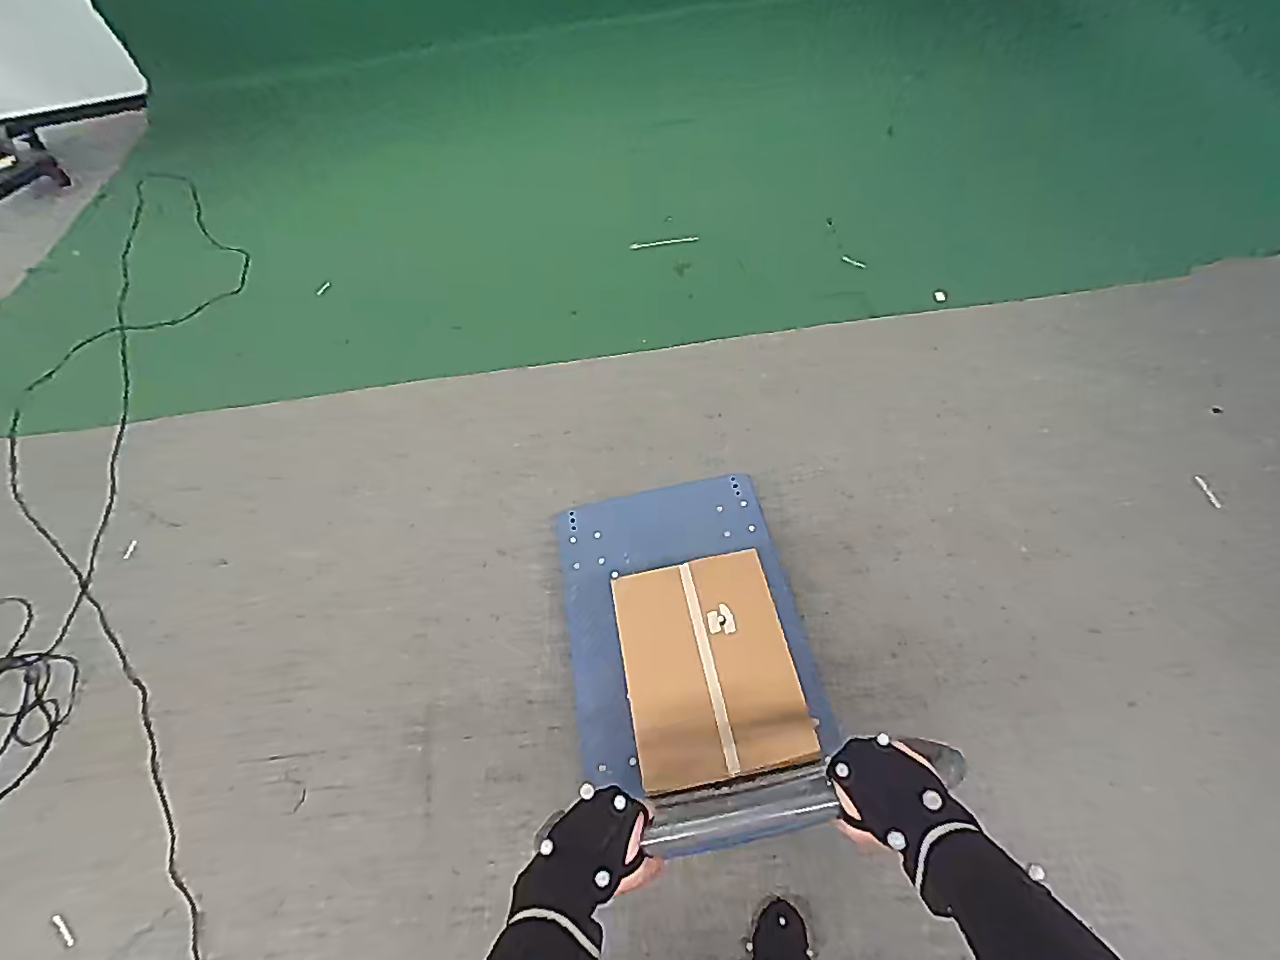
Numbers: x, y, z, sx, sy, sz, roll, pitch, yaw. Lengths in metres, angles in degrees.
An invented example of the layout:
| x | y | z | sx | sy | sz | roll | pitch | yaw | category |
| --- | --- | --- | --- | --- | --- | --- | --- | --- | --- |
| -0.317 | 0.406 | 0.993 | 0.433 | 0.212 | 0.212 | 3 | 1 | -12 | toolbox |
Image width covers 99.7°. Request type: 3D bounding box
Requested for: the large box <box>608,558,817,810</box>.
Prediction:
| x | y | z | sx | sy | sz | roll | pitch | yaw | category |
| --- | --- | --- | --- | --- | --- | --- | --- | --- | --- |
| 0.135 | 0.437 | 1.152 | 0.320 | 0.320 | 0.408 | -12 | 56 | -2 | large box |
